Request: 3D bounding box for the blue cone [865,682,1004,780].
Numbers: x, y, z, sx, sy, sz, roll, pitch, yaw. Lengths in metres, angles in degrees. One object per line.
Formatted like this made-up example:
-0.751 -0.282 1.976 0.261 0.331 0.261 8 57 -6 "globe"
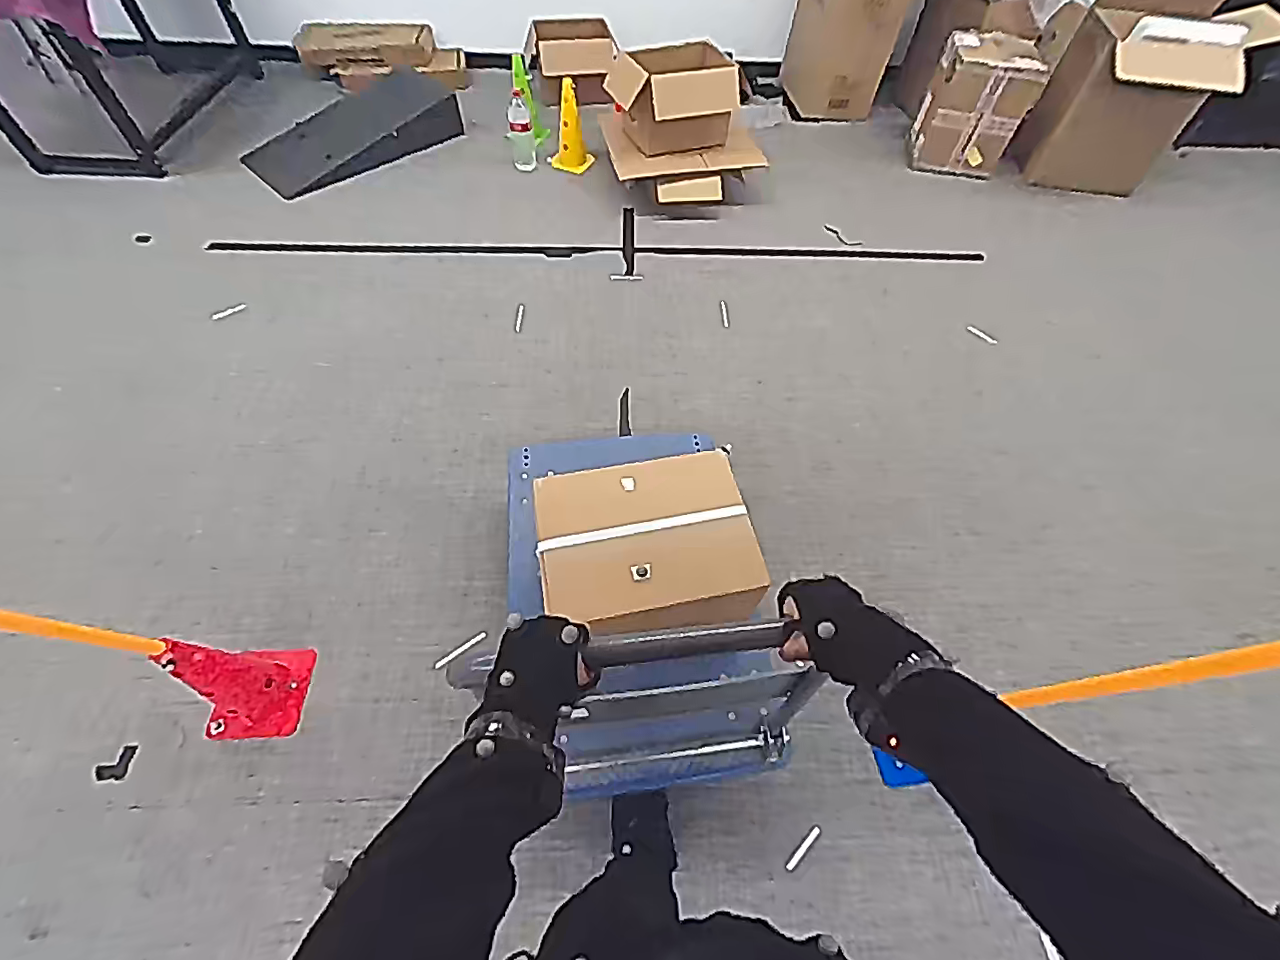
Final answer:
0.657 0.510 1.154 0.193 0.380 0.192 -3 55 -5 "blue cone"
